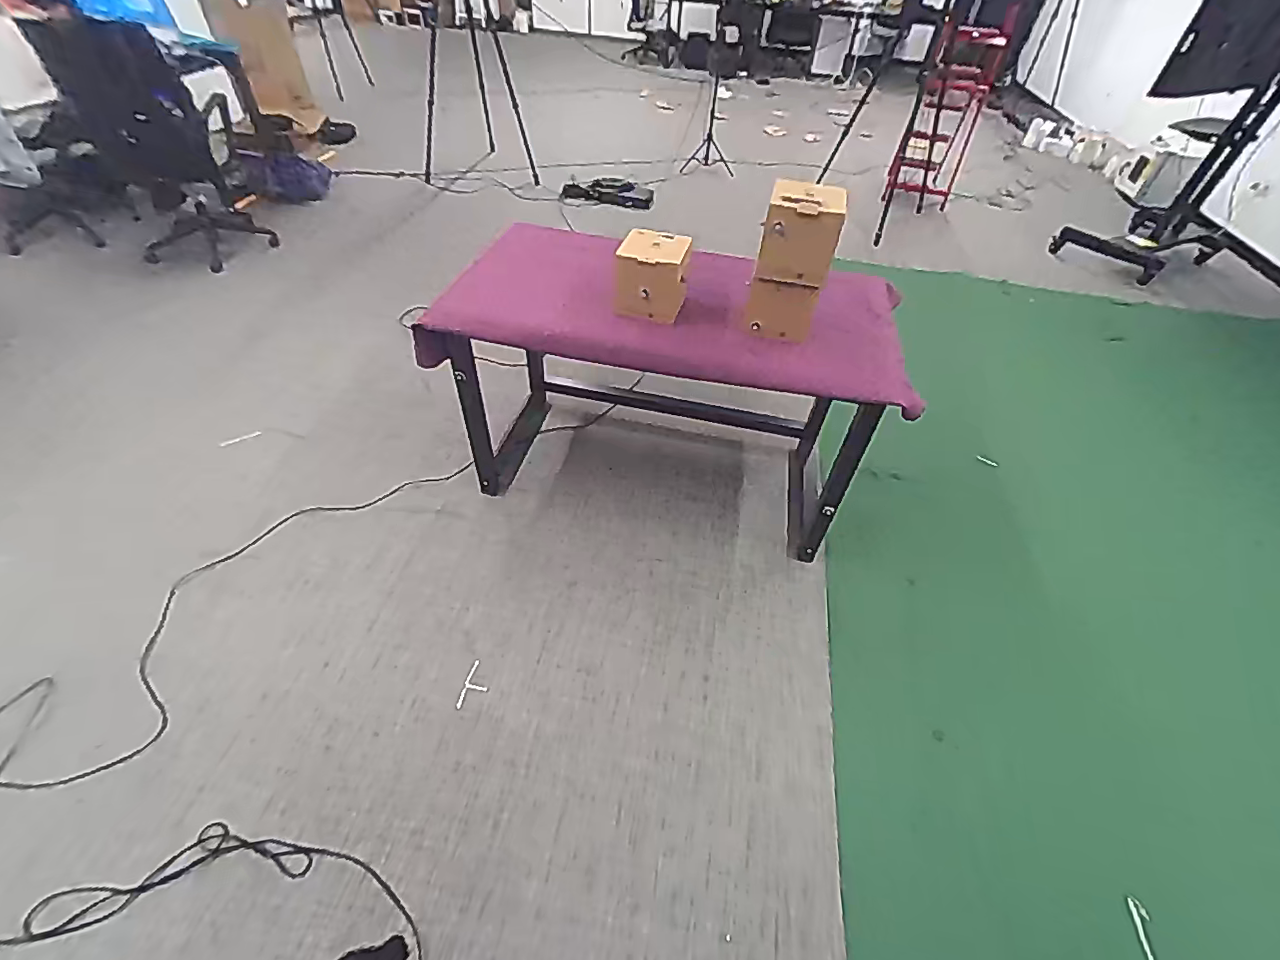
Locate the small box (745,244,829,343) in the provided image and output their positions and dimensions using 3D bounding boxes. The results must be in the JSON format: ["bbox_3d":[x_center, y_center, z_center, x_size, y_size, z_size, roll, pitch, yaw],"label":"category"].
[{"bbox_3d":[0.376,-0.478,1.395,0.168,0.176,0.179,16,48,8],"label":"small box"}]

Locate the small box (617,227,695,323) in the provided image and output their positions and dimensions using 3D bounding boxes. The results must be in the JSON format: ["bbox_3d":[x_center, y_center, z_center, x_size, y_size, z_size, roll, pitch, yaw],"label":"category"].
[{"bbox_3d":[0.041,-0.538,1.428,0.168,0.176,0.179,14,48,8],"label":"small box"}]
